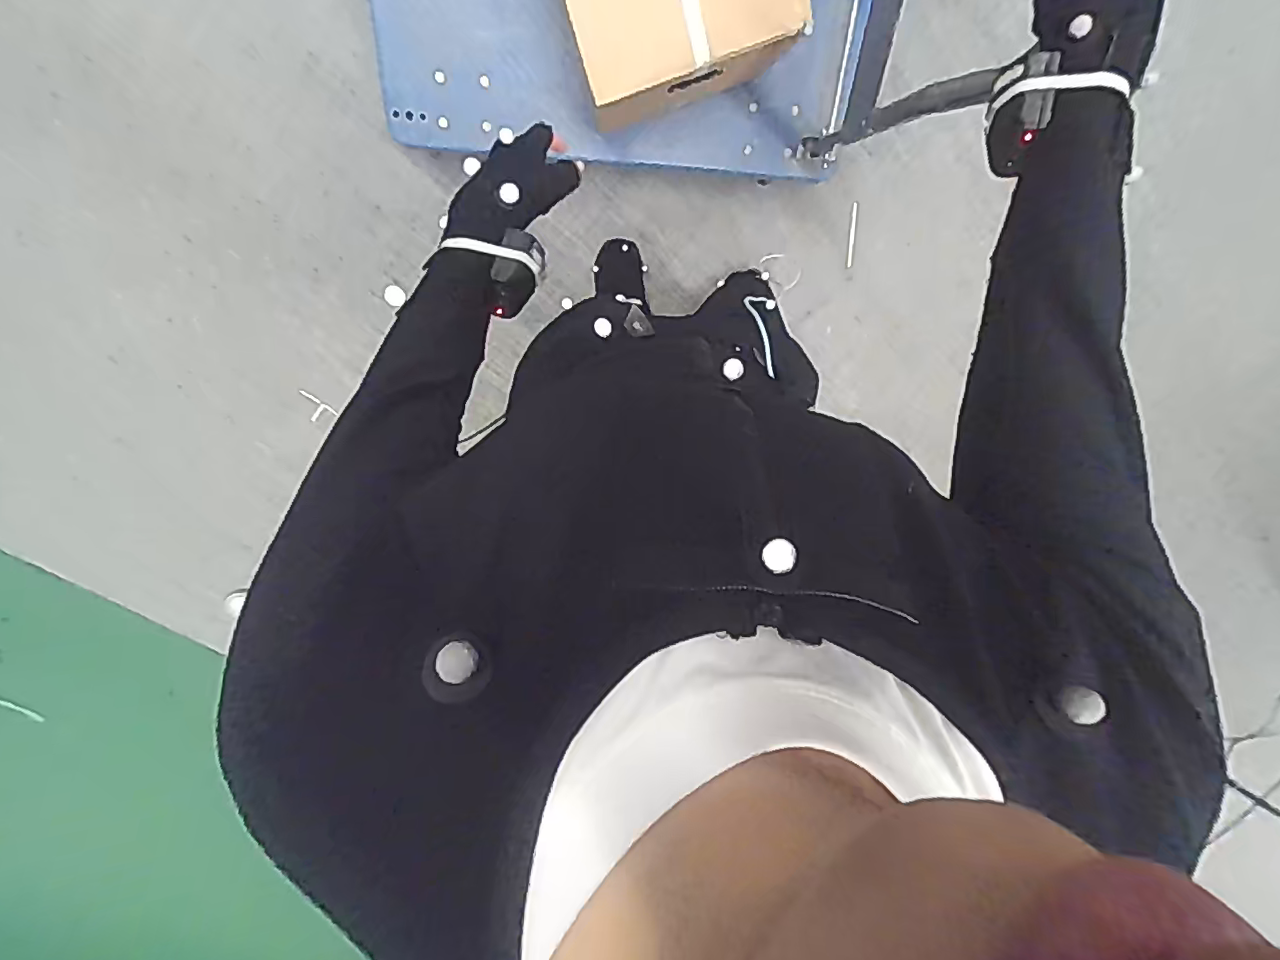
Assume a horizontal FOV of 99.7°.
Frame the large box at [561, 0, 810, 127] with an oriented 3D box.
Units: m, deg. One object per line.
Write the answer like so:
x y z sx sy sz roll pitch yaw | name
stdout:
0.016 -0.815 0.797 0.320 0.320 0.408 -17 117 6 | large box
